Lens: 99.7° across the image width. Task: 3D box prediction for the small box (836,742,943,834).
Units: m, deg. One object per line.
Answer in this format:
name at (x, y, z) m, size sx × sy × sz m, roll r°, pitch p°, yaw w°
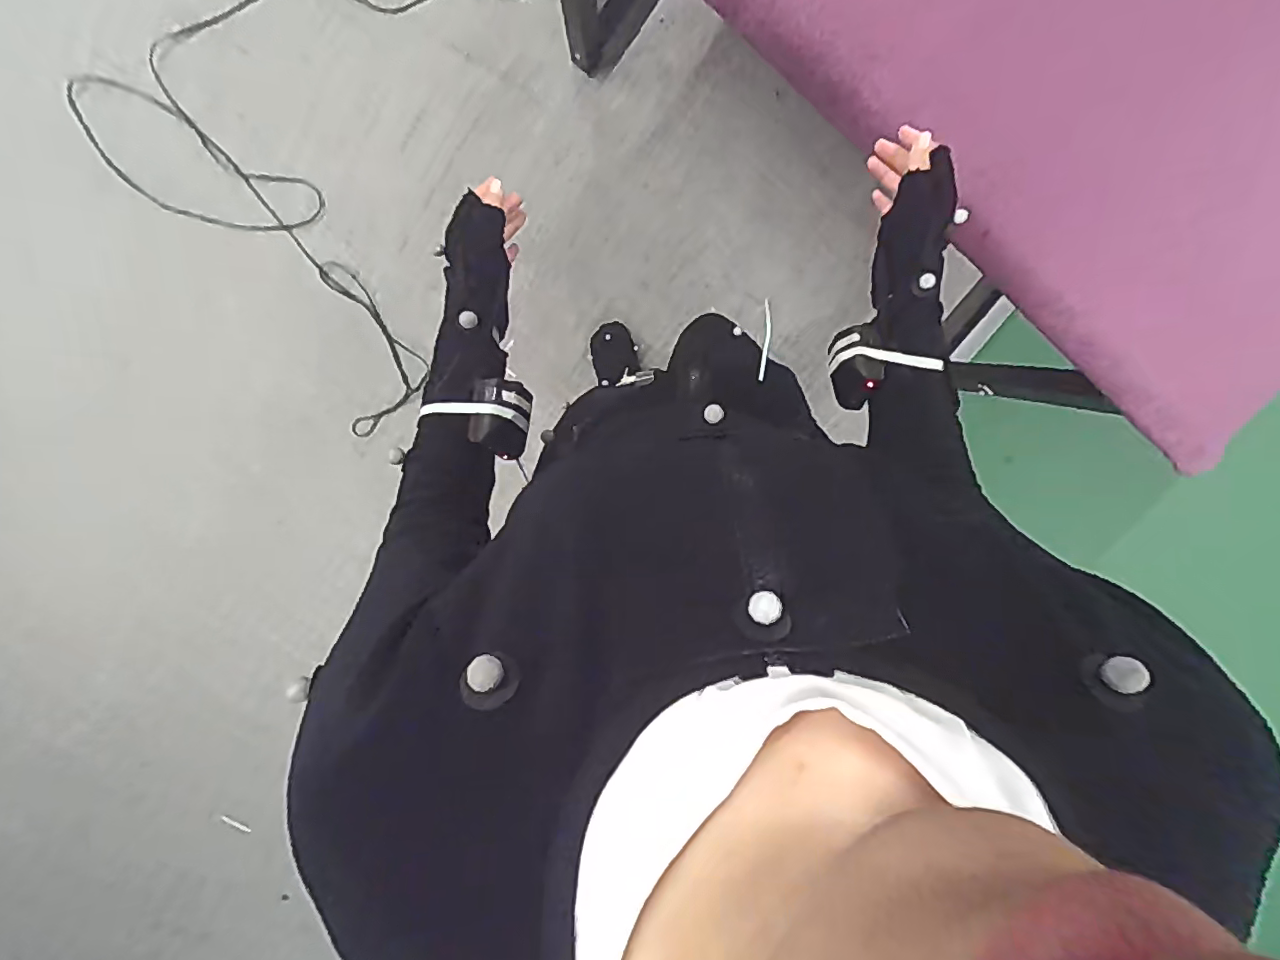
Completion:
small box at (0.672, 0.864, 1.480) m, size 0.168 × 0.176 × 0.179 m, roll 36°, pitch 103°, yaw -9°
